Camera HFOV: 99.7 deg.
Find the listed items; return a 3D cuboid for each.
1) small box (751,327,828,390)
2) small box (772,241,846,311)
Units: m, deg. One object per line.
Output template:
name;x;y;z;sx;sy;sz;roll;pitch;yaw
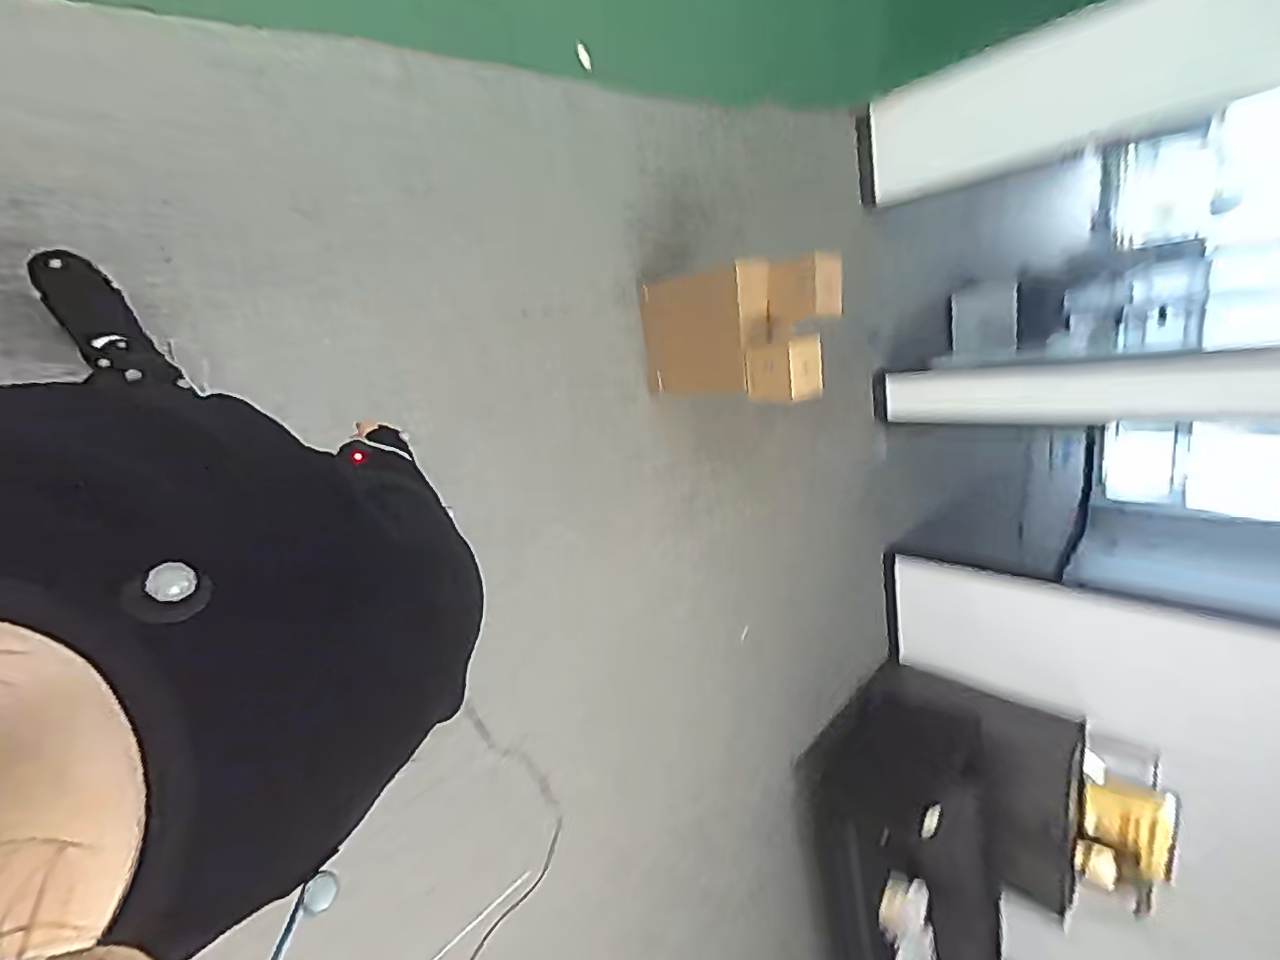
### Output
small box;0.463;-0.378;1.691;0.179;0.176;0.168;-22;111;-38
small box;0.536;-0.643;1.720;0.168;0.176;0.179;-13;105;-41
